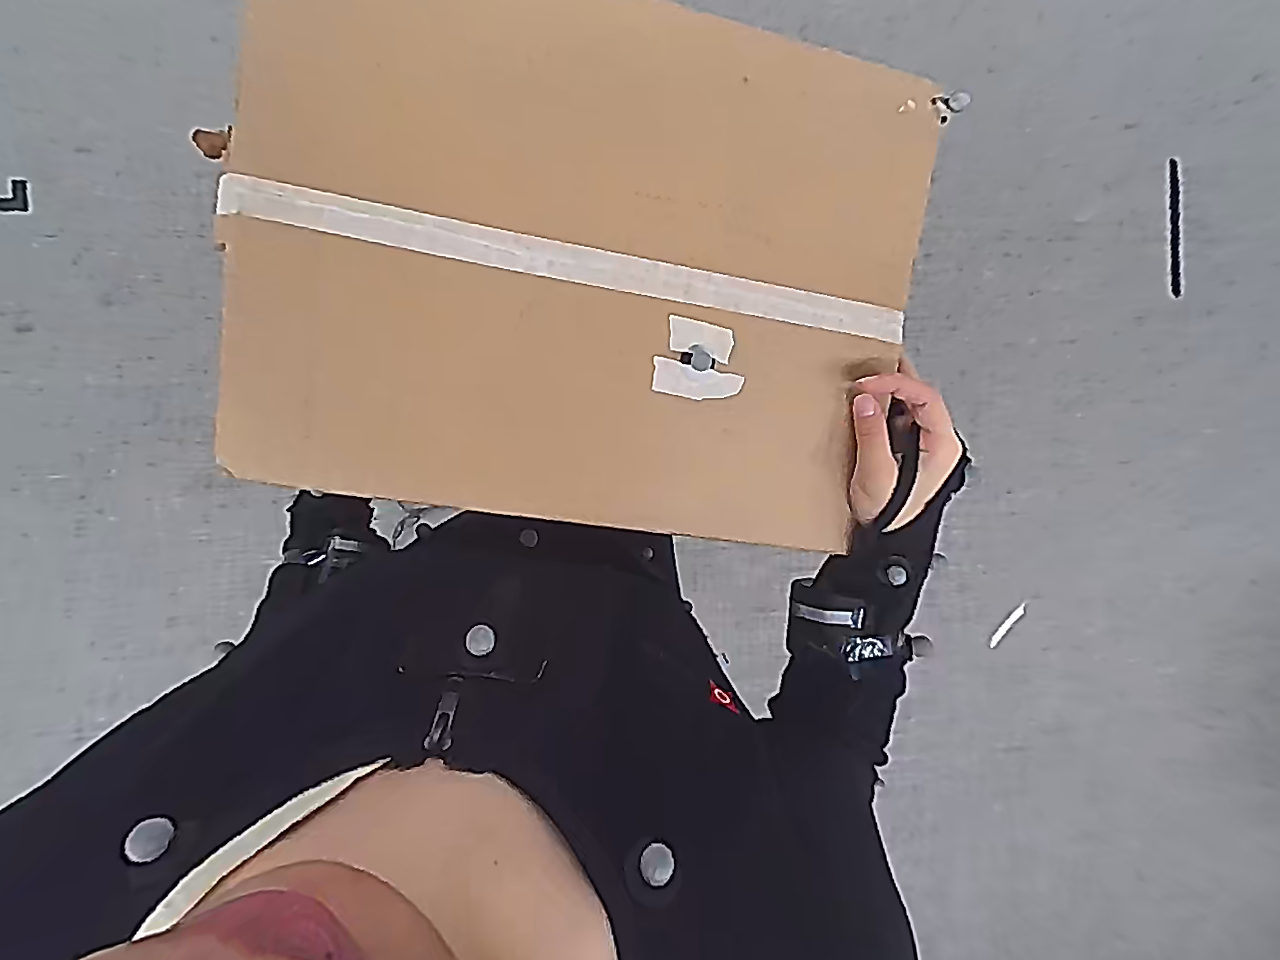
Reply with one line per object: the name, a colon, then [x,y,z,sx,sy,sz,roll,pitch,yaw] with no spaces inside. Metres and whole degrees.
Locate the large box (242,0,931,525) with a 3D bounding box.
large box: [-0.046,-0.157,0.480,0.408,0.320,0.320,8,97,-11]
